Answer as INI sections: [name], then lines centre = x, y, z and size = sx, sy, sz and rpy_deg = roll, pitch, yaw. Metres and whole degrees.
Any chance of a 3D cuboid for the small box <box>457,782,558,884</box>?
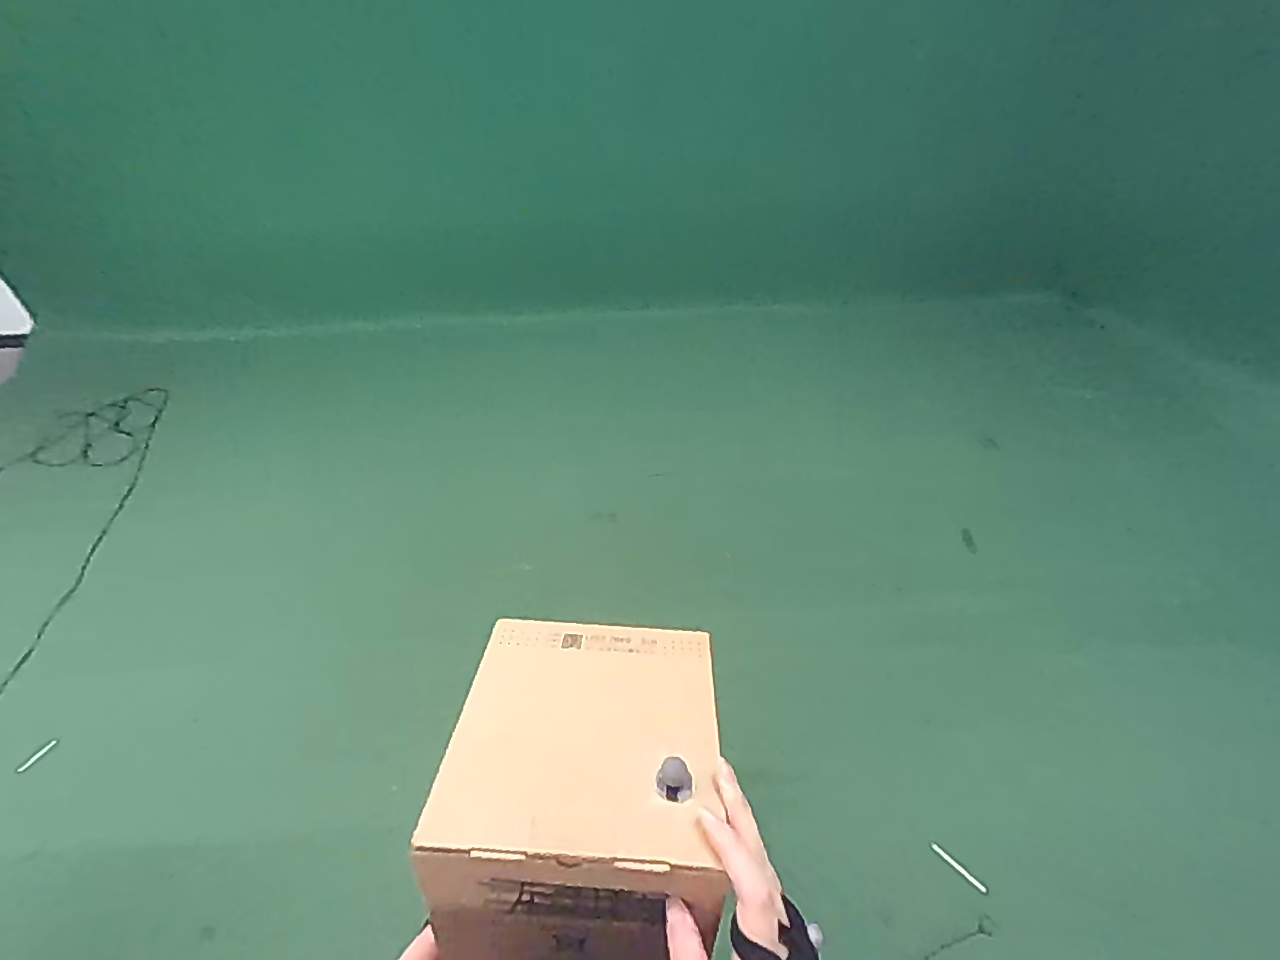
[small box]
centre = -0.293, 0.812, 1.243
size = 0.179, 0.176, 0.168
rpy_deg = -2, 43, 3
